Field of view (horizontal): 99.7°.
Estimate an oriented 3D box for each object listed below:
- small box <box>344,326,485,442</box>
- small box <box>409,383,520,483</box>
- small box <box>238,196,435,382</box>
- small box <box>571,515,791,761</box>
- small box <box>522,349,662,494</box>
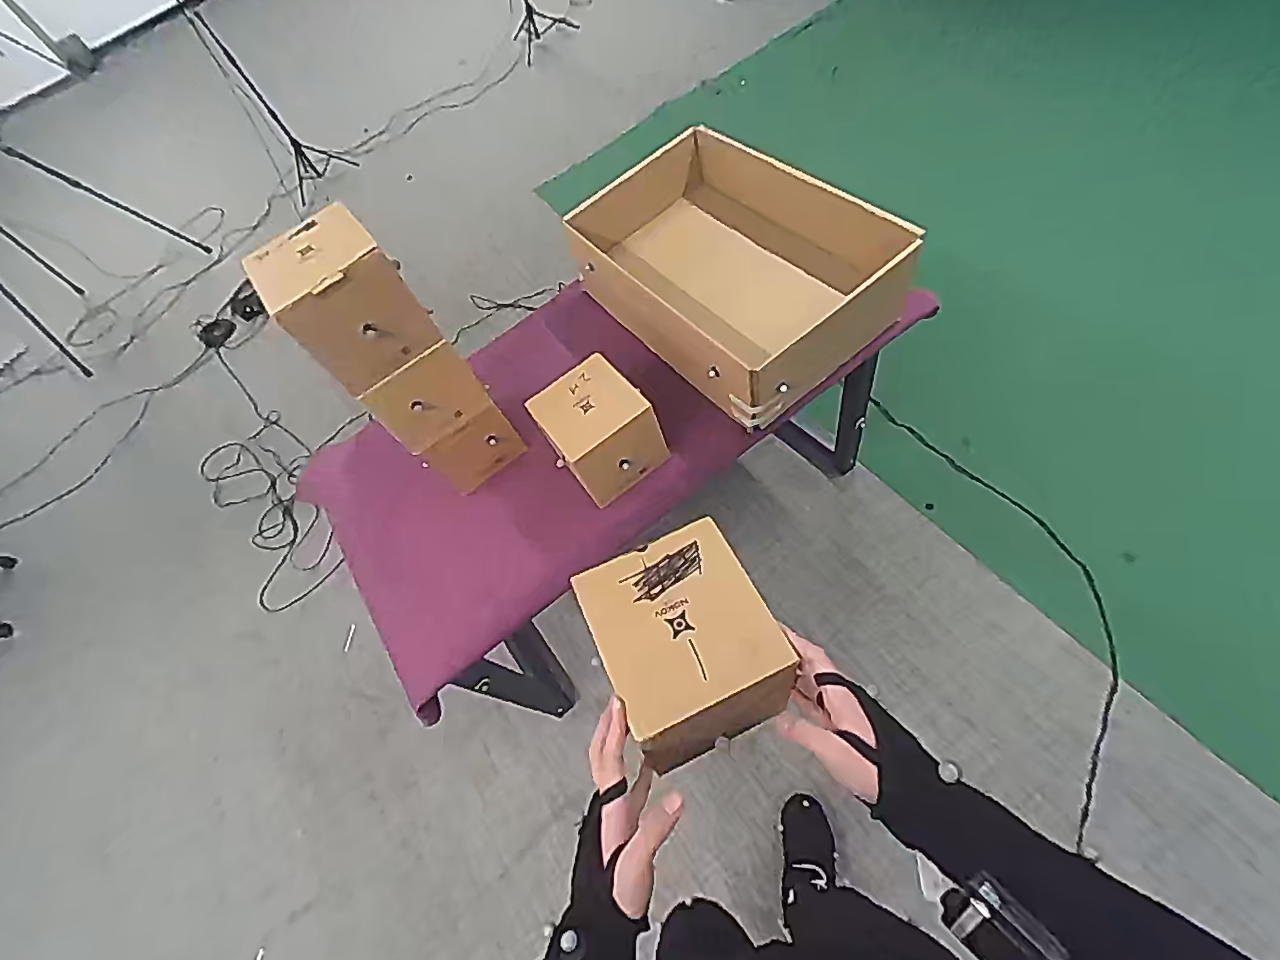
[{"bbox_3d":[-0.401,-0.190,0.939,0.168,0.176,0.179,-38,59,-8],"label":"small box"},{"bbox_3d":[-0.368,-0.117,1.079,0.168,0.176,0.179,-37,59,-8],"label":"small box"},{"bbox_3d":[-0.438,-0.272,0.801,0.168,0.176,0.179,-38,60,-9],"label":"small box"},{"bbox_3d":[0.042,0.176,0.593,0.168,0.176,0.179,-24,54,-7],"label":"small box"},{"bbox_3d":[-0.080,-0.096,0.989,0.168,0.176,0.179,-36,59,-8],"label":"small box"}]
